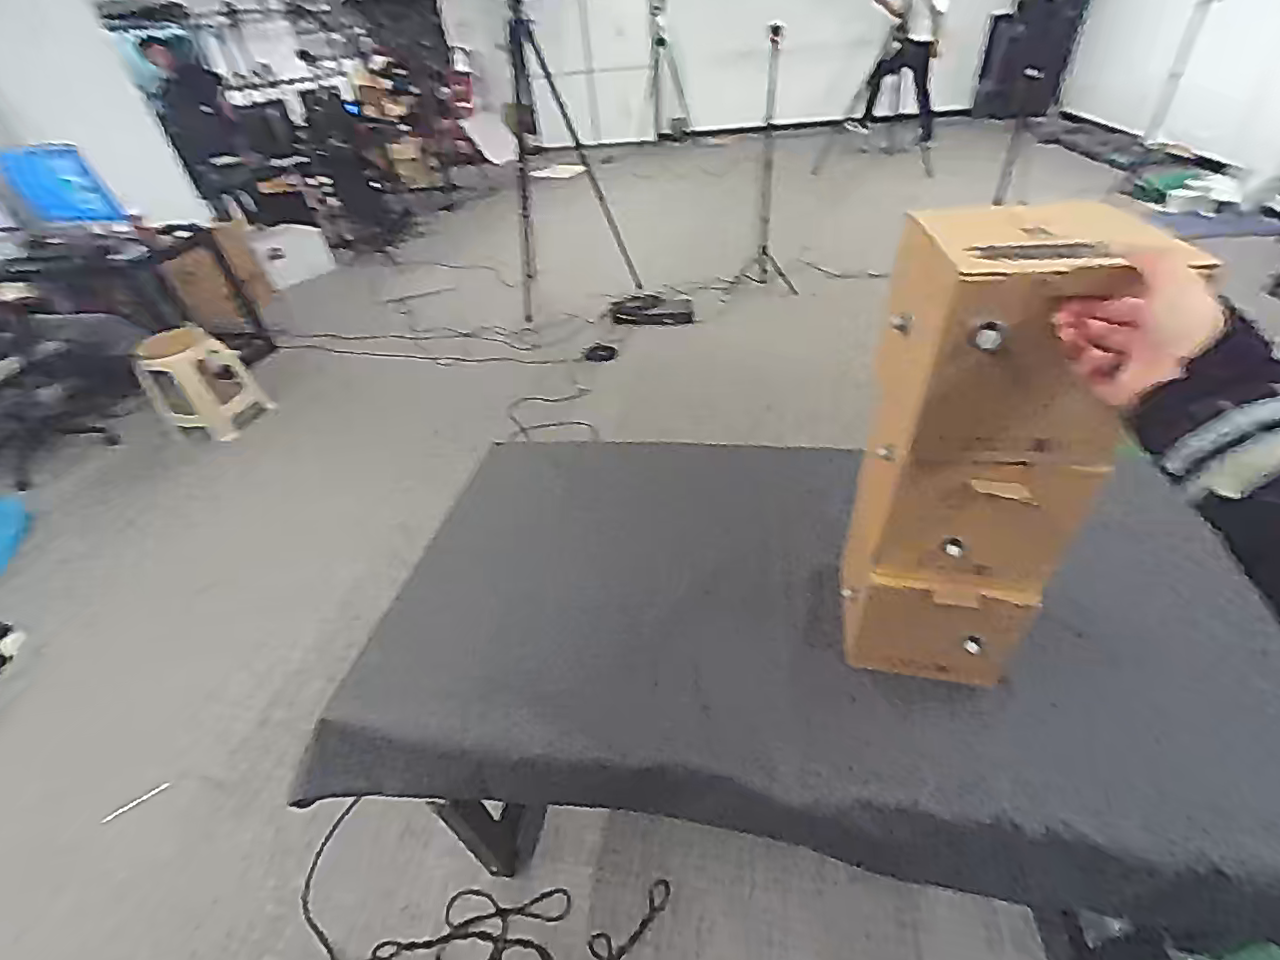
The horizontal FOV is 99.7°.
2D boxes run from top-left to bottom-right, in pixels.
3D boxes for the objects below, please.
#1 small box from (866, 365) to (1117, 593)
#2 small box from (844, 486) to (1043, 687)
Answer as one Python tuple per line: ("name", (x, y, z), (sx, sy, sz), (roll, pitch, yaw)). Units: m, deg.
("small box", (0.350, -0.005, 0.586), (0.168, 0.176, 0.179), (6, 41, 14))
("small box", (0.357, 0.131, 0.677), (0.168, 0.176, 0.179), (5, 40, 13))
